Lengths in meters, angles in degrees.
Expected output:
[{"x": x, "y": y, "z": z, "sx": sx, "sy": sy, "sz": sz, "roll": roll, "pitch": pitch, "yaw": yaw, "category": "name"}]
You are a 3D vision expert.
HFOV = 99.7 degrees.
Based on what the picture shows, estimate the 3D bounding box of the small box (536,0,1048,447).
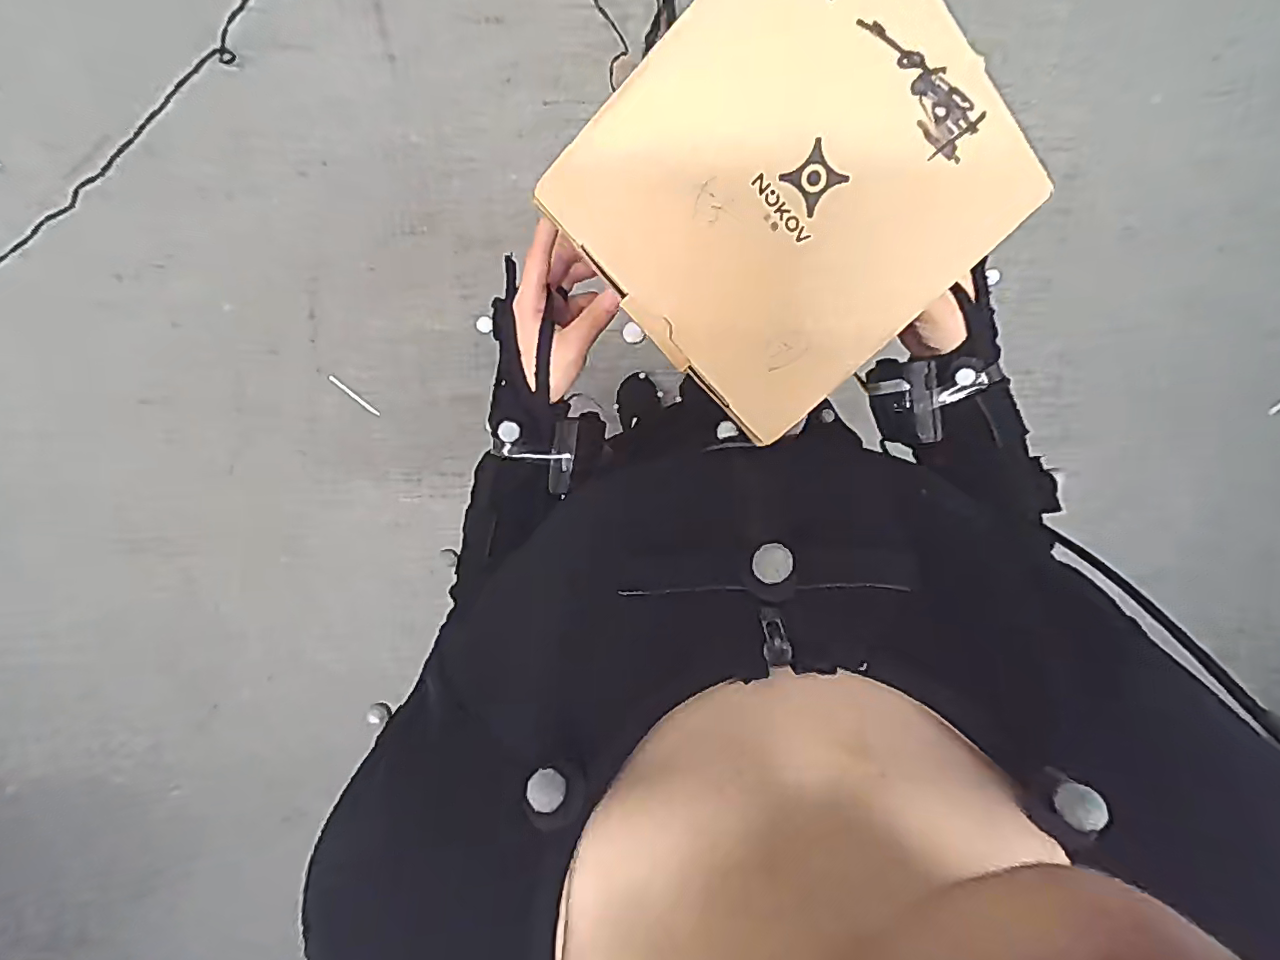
[{"x": 0.068, "y": -0.152, "z": 0.319, "sx": 0.179, "sy": 0.176, "sz": 0.168, "roll": -42, "pitch": 105, "yaw": 12, "category": "small box"}]
